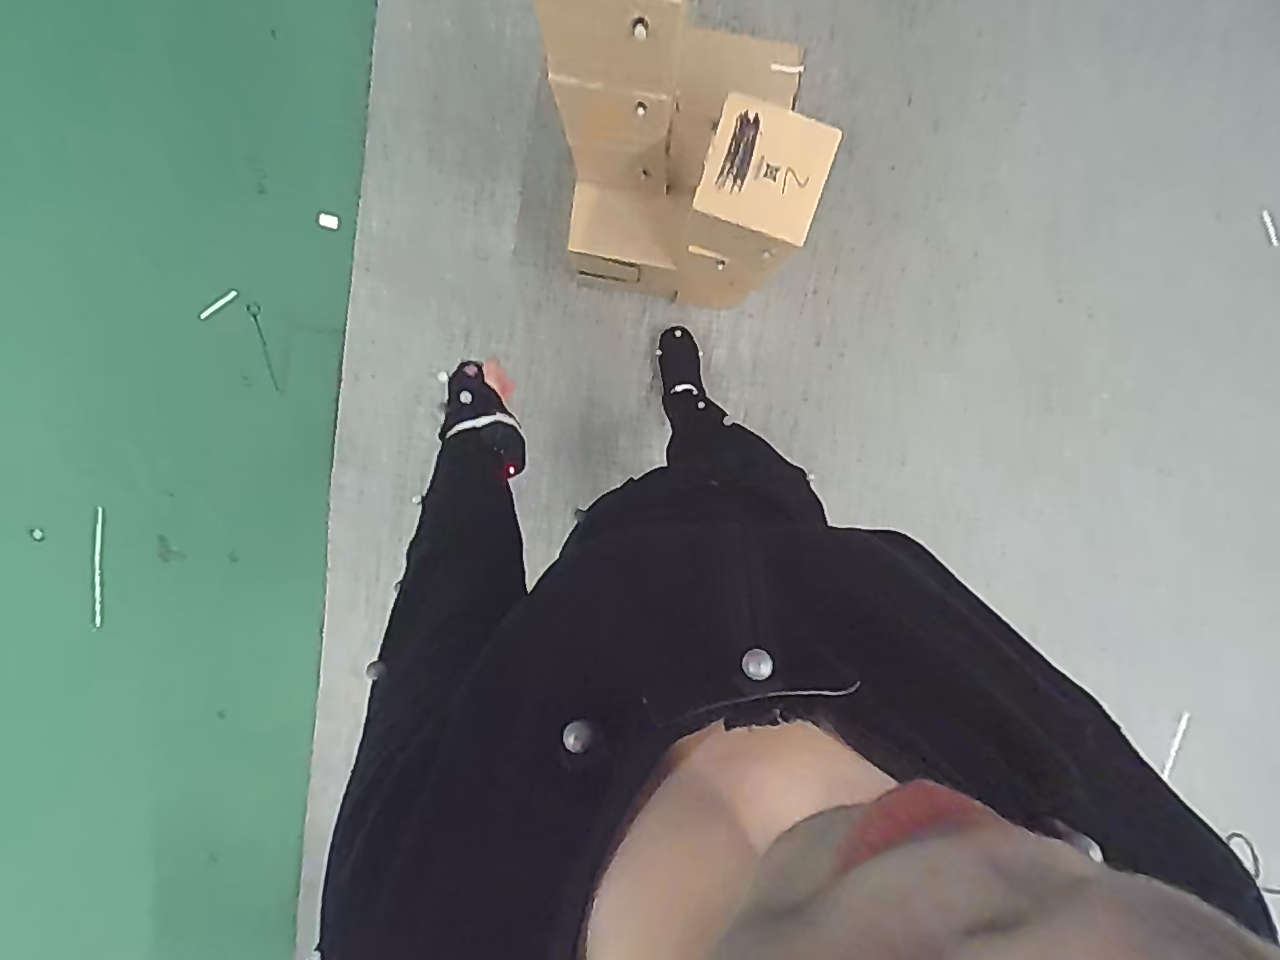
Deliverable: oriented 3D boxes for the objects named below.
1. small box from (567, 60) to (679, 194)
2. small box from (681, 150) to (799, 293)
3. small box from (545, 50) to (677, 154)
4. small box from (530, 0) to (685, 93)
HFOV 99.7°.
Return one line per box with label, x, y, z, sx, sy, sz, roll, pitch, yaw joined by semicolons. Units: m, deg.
small box;-0.029;-0.652;0.999;0.179;0.176;0.168;7;96;0
small box;0.176;-0.473;1.016;0.168;0.176;0.179;13;97;-1
small box;-0.038;-0.638;0.838;0.179;0.176;0.168;8;95;-1
small box;-0.030;-0.624;0.673;0.179;0.176;0.168;10;95;0
